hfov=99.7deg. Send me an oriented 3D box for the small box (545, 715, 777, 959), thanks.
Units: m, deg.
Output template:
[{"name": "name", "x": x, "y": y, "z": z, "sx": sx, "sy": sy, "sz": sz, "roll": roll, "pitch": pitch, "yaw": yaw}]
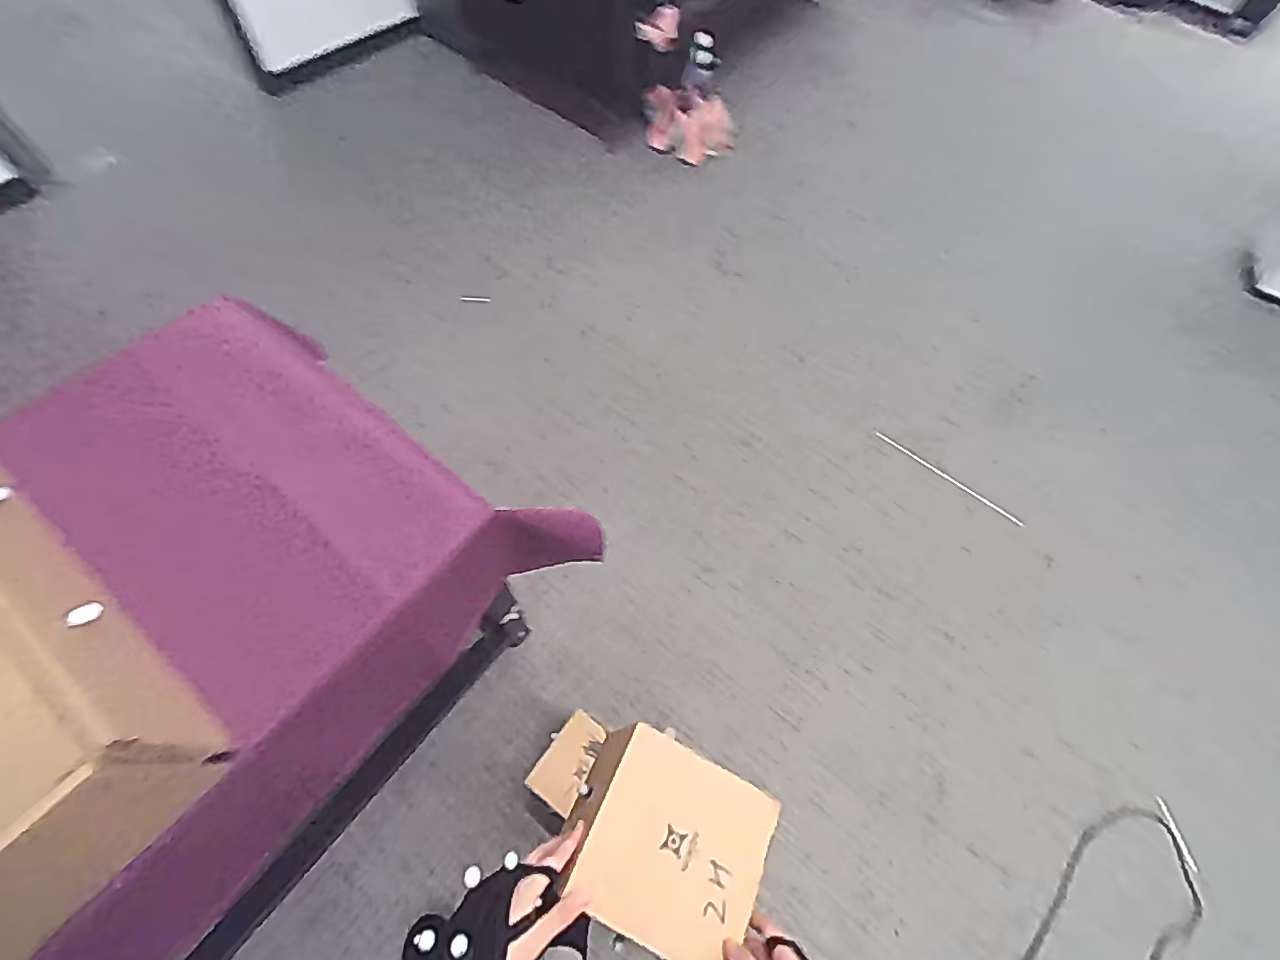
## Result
[{"name": "small box", "x": 0.014, "y": 0.383, "z": 0.586, "sx": 0.179, "sy": 0.176, "sz": 0.168, "roll": 30, "pitch": 58, "yaw": 0}]
